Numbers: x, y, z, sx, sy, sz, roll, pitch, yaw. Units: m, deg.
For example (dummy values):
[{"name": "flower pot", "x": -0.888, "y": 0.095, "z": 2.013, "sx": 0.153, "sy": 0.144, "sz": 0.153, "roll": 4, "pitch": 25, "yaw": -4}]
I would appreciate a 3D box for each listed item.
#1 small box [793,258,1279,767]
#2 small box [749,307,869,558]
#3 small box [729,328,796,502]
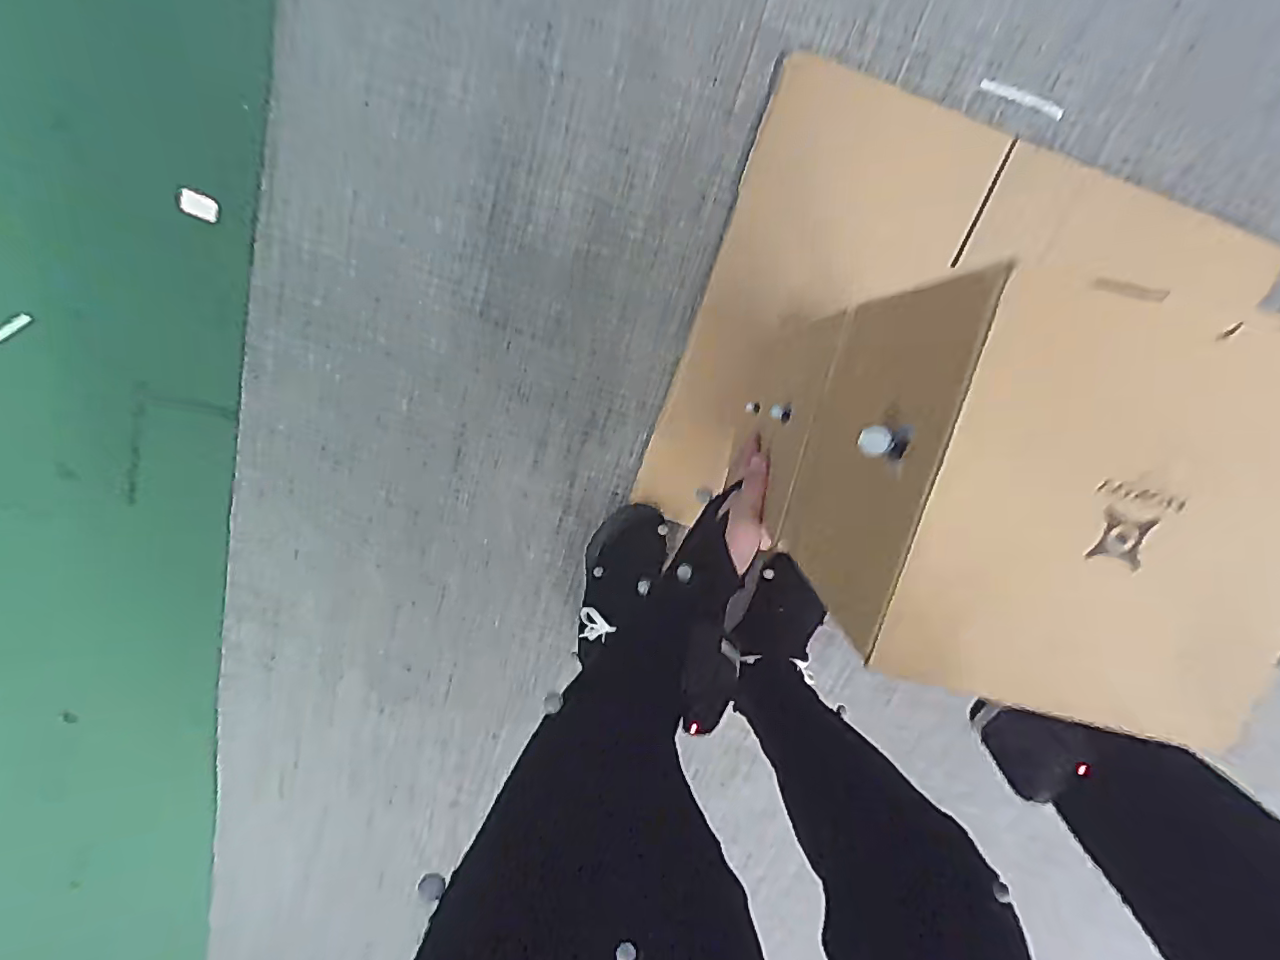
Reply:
[{"name": "small box", "x": 0.194, "y": 0.005, "z": 0.290, "sx": 0.168, "sy": 0.176, "sz": 0.179, "roll": 13, "pitch": 101, "yaw": 0}, {"name": "small box", "x": 0.196, "y": -0.028, "z": 0.448, "sx": 0.168, "sy": 0.176, "sz": 0.179, "roll": 13, "pitch": 101, "yaw": 0}, {"name": "small box", "x": 0.203, "y": -0.063, "z": 0.609, "sx": 0.168, "sy": 0.176, "sz": 0.179, "roll": 10, "pitch": 102, "yaw": 0}]
